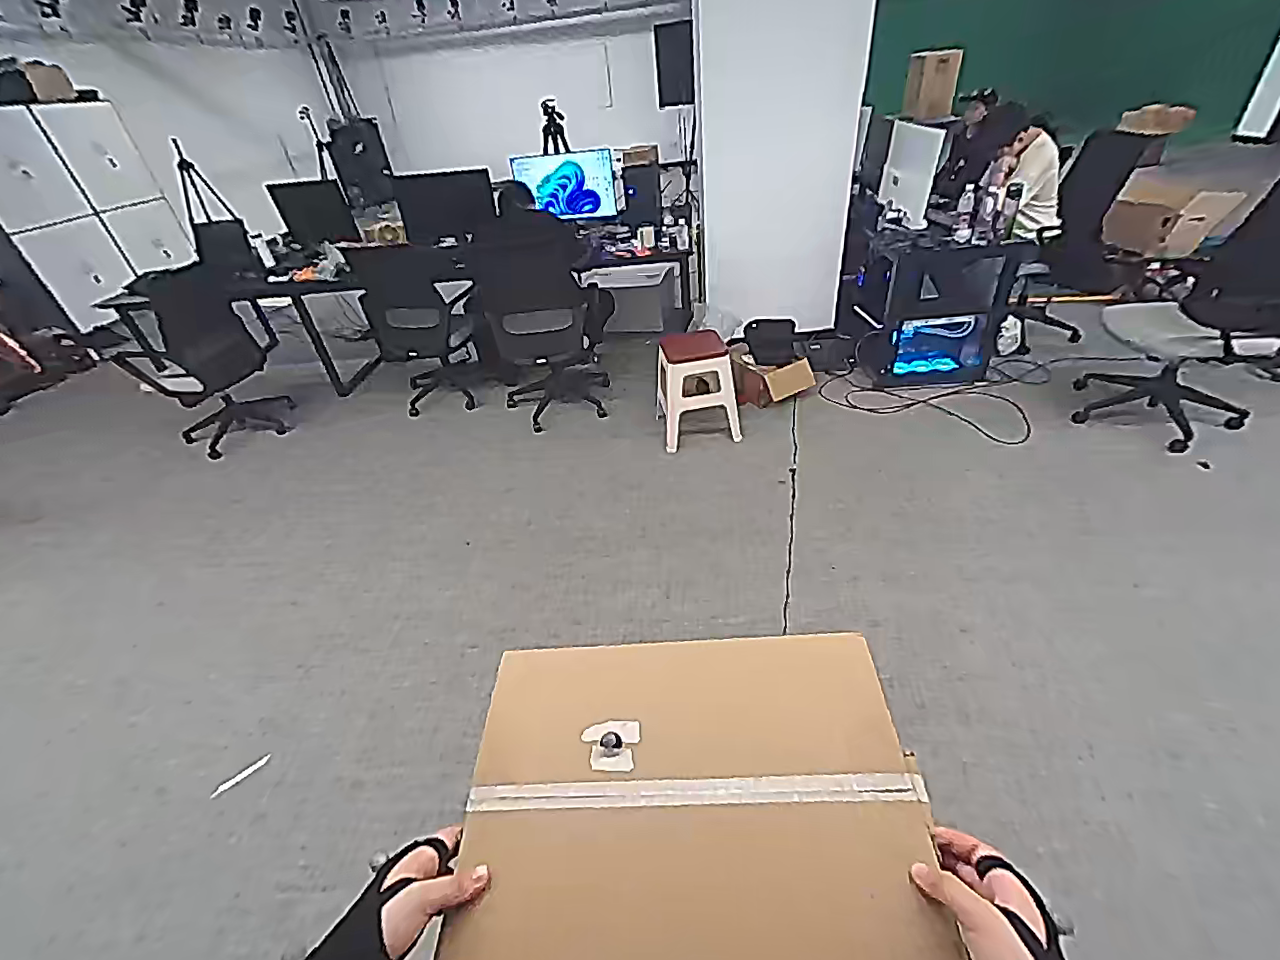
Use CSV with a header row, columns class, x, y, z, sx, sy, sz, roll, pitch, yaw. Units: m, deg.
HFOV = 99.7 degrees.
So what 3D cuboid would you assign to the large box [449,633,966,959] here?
class,x,y,z,sx,sy,sz,roll,pitch,yaw
large box,0.067,0.402,0.596,0.408,0.320,0.320,-7,40,7
